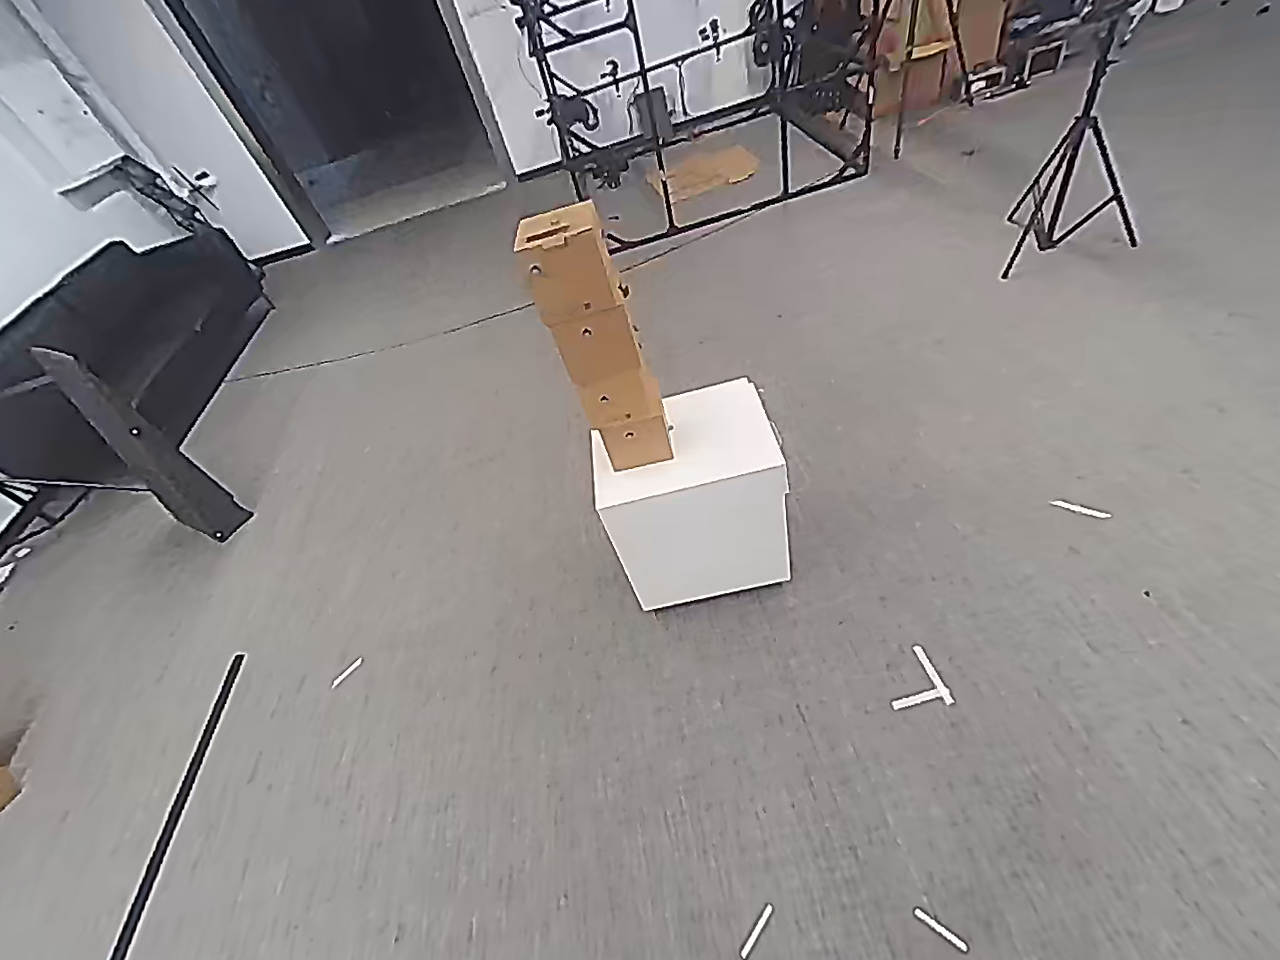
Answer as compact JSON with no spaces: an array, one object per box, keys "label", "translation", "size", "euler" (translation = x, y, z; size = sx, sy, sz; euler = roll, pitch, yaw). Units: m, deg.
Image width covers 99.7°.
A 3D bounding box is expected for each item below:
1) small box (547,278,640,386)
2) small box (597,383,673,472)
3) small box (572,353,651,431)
[{"label":"small box","translation":[-0.108,-0.346,1.282],"size":[0.179,0.176,0.168],"euler":[-14,45,6]},{"label":"small box","translation":[-0.015,-0.141,1.520],"size":[0.179,0.176,0.168],"euler":[-12,45,6]},{"label":"small box","translation":[-0.070,-0.246,1.407],"size":[0.168,0.176,0.179],"euler":[-12,45,8]}]
